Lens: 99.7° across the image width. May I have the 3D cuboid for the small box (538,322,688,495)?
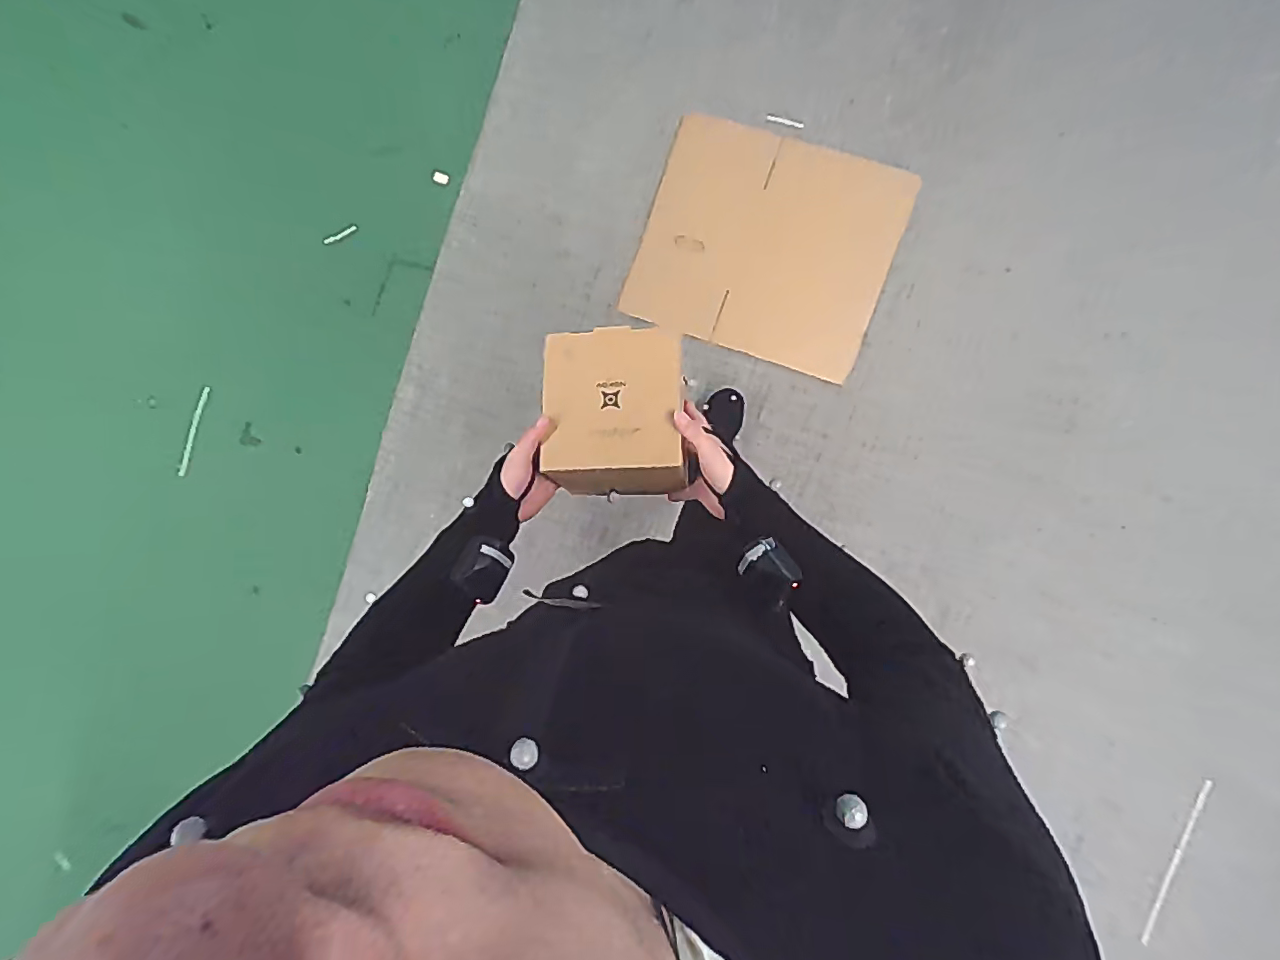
[{"bbox_3d":[-0.025,-0.083,0.702,0.168,0.176,0.179,-1,77,8],"label":"small box"}]
